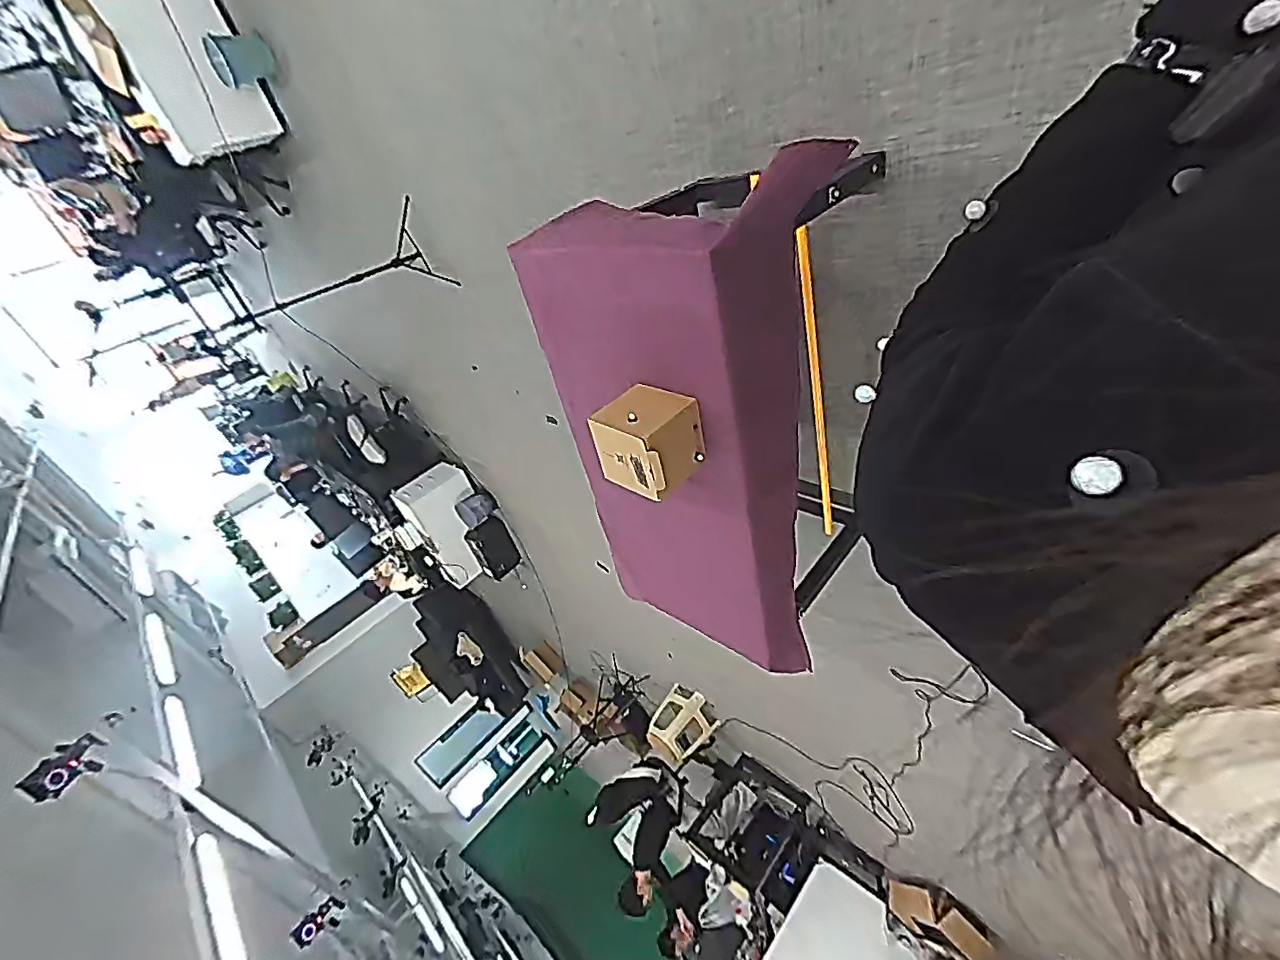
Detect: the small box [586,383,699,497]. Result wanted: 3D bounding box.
[{"bbox_3d":[0.015,-0.095,1.189,0.179,0.176,0.168,24,141,39],"label":"small box"}]
